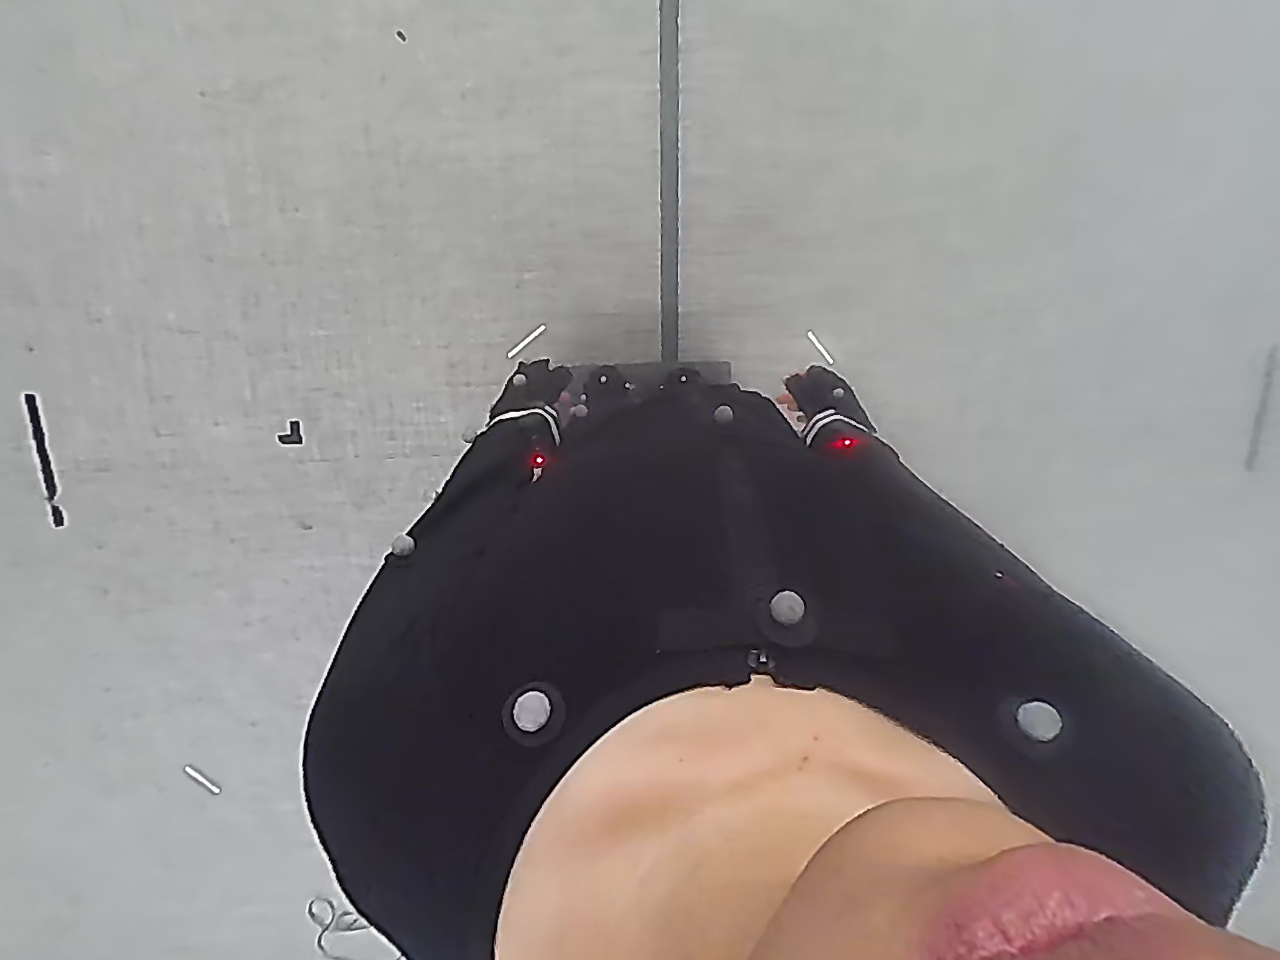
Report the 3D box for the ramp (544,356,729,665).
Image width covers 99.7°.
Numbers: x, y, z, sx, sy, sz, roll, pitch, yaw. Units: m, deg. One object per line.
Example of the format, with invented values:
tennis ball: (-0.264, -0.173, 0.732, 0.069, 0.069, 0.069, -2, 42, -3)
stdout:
ramp: (0.010, 0.142, 1.602, 0.509, 0.206, 0.991, -4, 103, -2)
